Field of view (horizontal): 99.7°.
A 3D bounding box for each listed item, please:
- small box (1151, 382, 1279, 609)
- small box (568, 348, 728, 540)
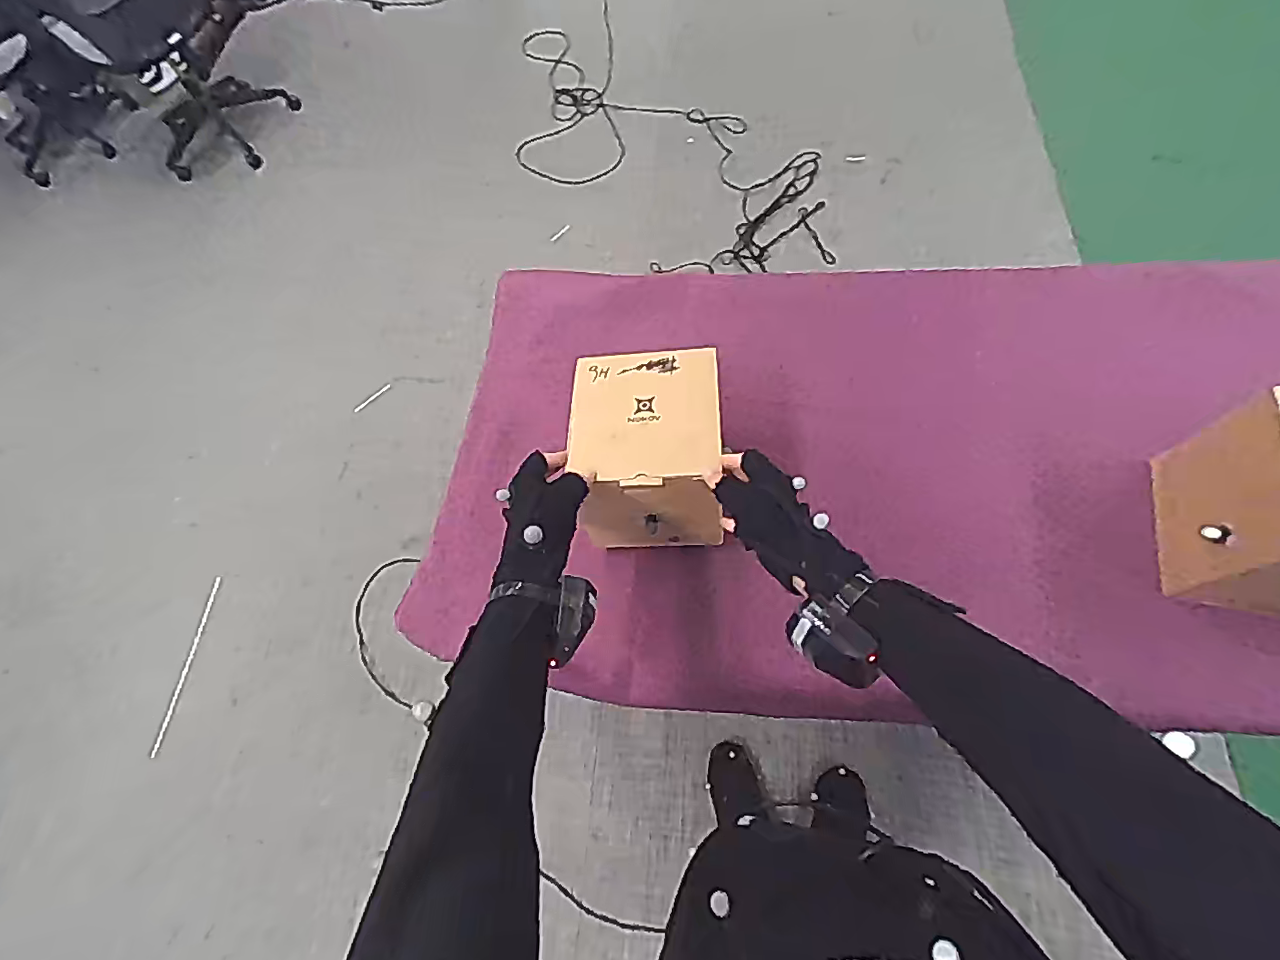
[{"bbox_3d":[0.667,0.030,0.542,0.168,0.176,0.179,11,68,13],"label":"small box"},{"bbox_3d":[0.020,-0.033,0.655,0.168,0.176,0.179,-3,61,8],"label":"small box"}]
